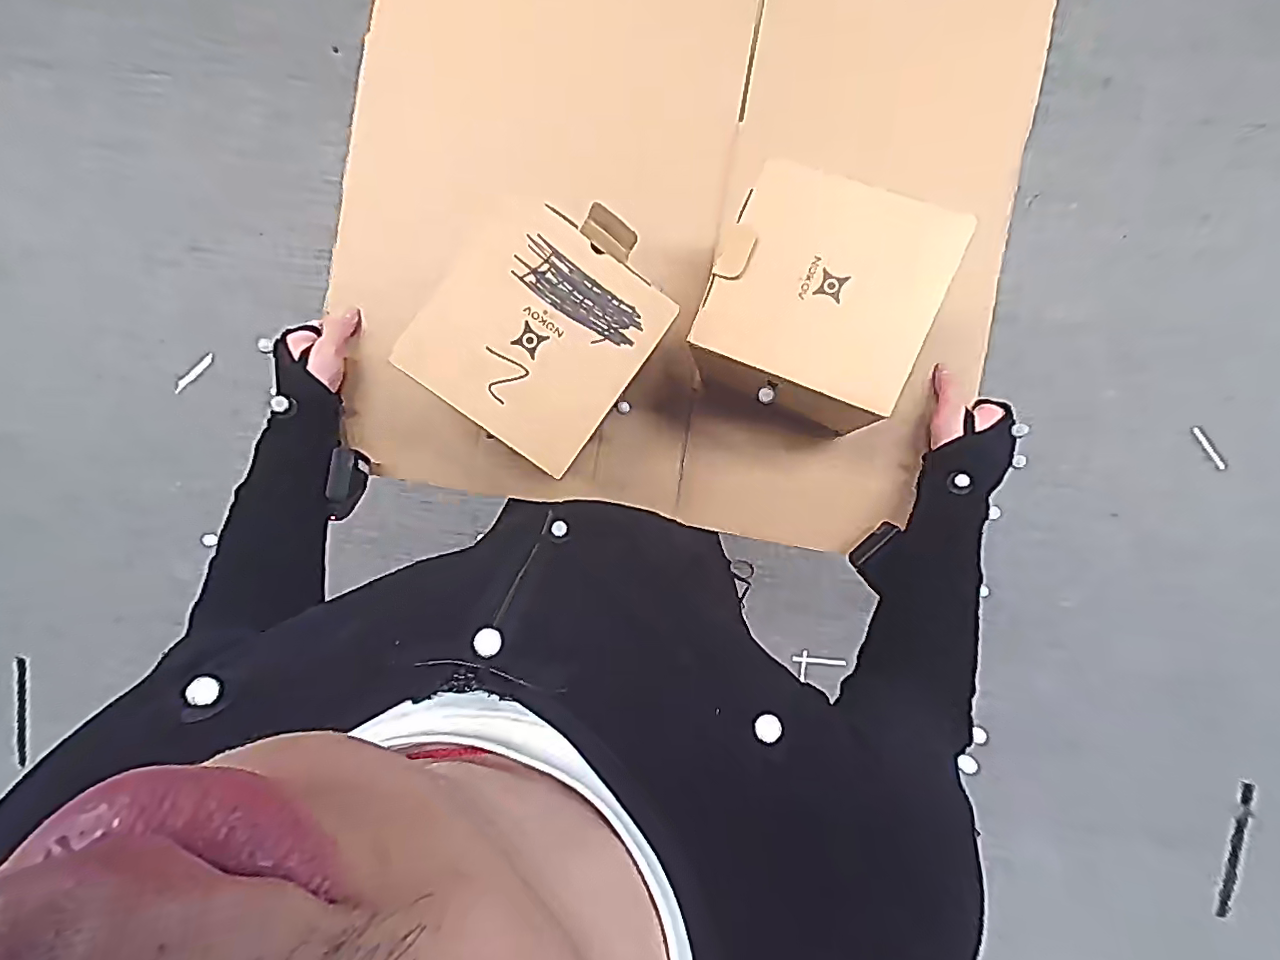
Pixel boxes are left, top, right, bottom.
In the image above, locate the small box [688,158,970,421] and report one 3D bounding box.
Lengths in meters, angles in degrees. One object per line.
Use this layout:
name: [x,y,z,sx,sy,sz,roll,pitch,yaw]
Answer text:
small box: [0.166,-0.164,0.522,0.179,0.176,0.168,24,95,11]
